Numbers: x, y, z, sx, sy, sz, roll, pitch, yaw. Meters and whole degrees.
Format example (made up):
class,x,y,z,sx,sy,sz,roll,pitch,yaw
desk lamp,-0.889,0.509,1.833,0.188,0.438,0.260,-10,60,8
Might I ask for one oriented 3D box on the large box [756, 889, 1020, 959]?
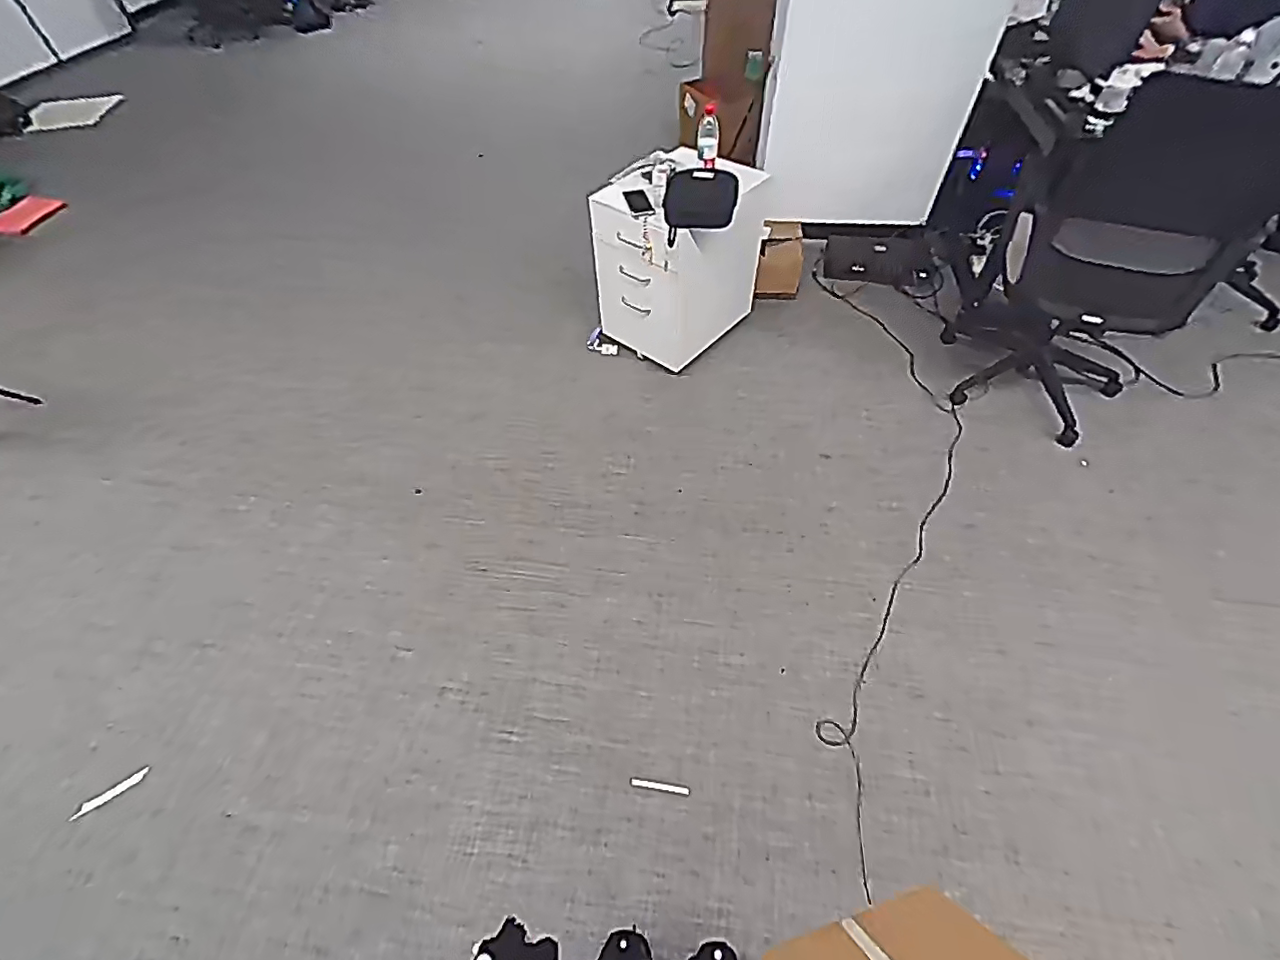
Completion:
class,x,y,z,sx,sy,sz,roll,pitch,yaw
large box,0.383,0.791,0.631,0.320,0.408,0.320,-14,79,-11
